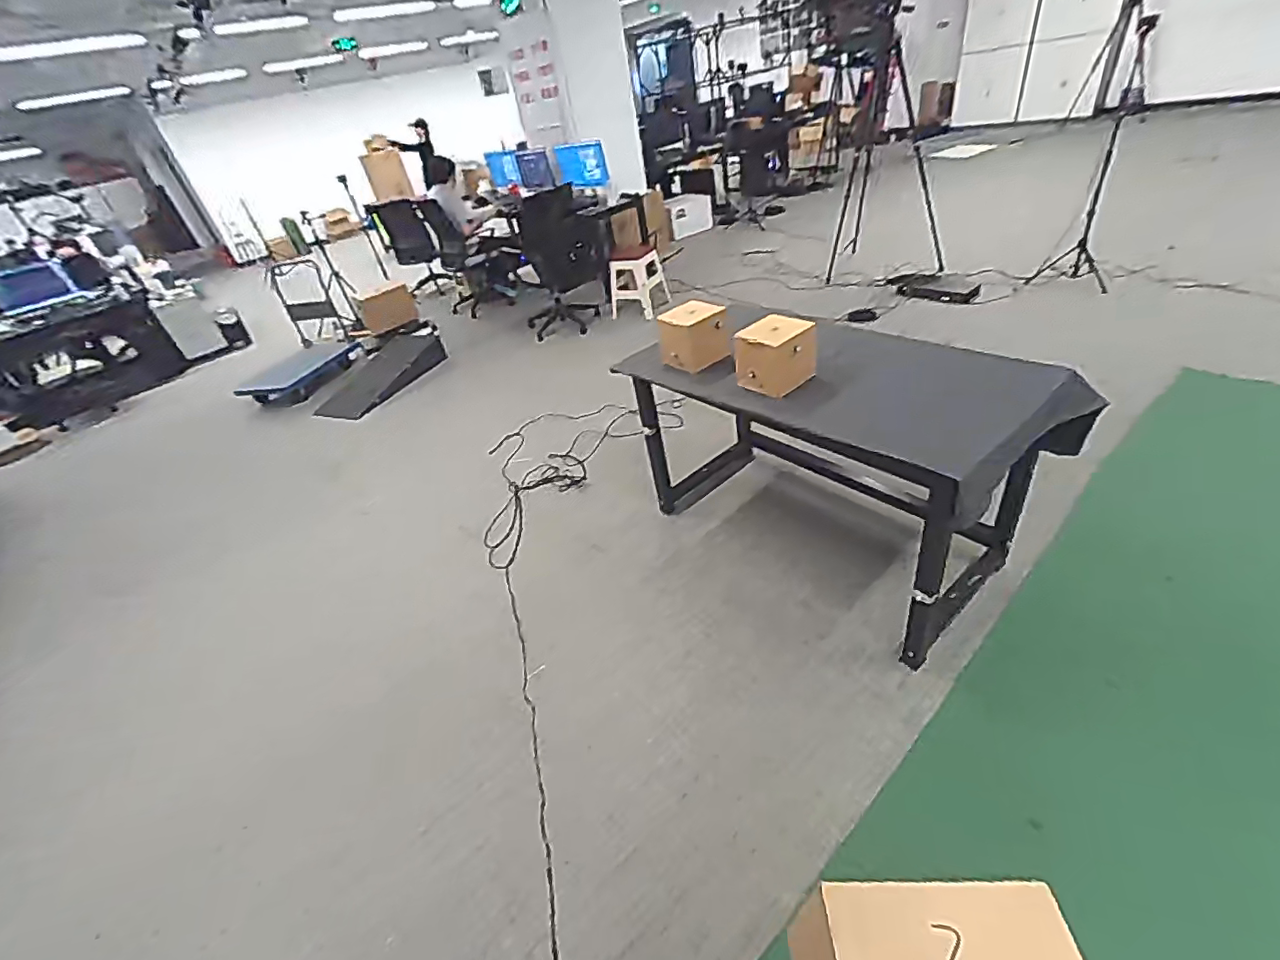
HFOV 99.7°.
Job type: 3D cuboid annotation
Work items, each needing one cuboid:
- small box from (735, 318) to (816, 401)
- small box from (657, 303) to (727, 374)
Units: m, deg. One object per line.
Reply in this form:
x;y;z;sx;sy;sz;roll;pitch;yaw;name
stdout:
0.403;-0.364;1.623;0.179;0.176;0.168;-32;41;-26;small box
0.181;-0.482;1.840;0.179;0.176;0.168;-31;40;-25;small box
